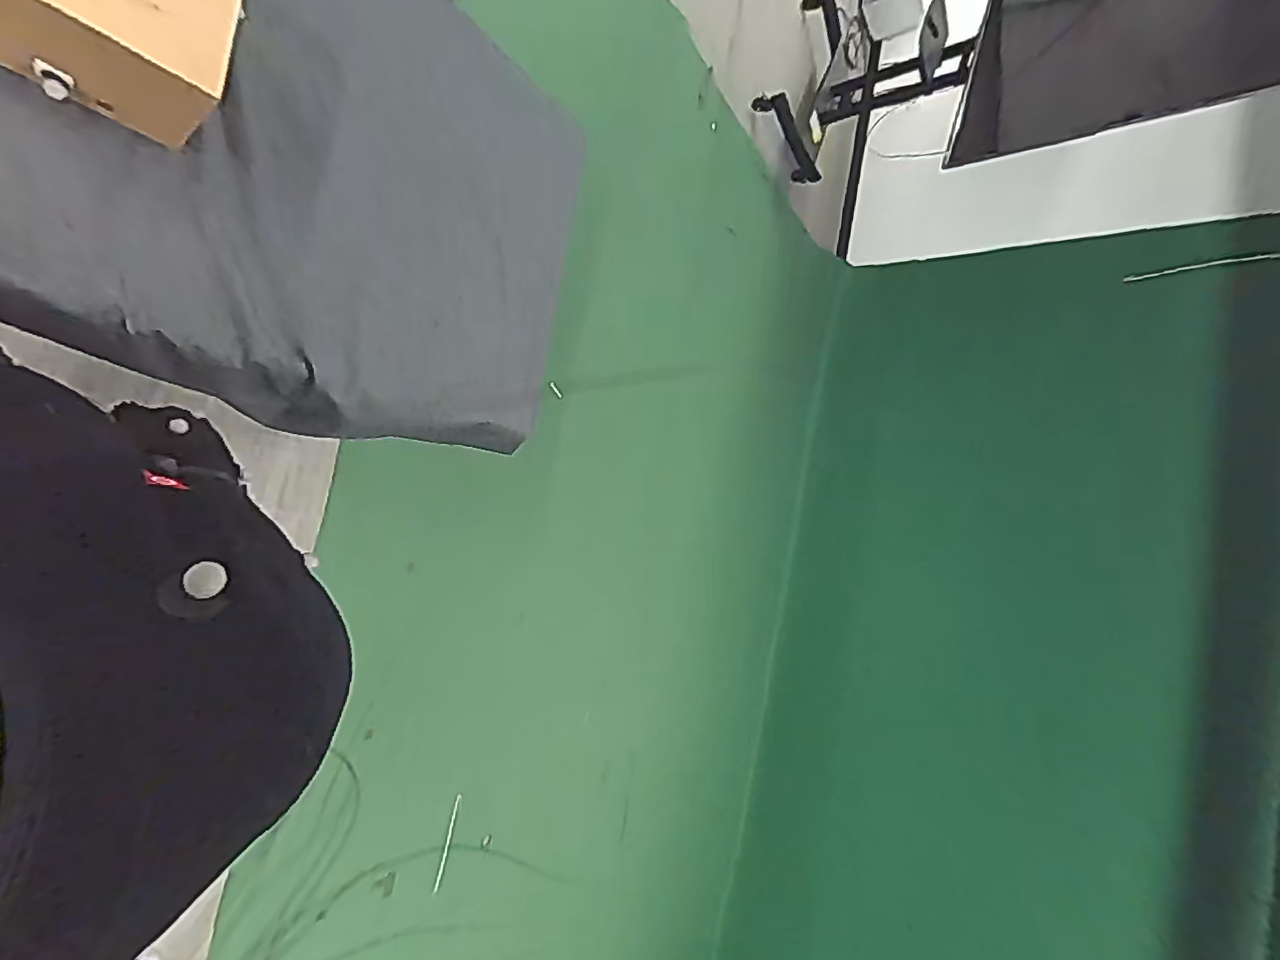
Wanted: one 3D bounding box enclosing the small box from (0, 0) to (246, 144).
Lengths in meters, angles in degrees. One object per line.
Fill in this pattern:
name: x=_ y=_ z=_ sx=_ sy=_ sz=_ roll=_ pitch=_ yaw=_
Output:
small box: x=-0.478 y=-0.448 z=0.483 sx=0.168 sy=0.176 sz=0.179 roll=11 pitch=88 yaw=-51
